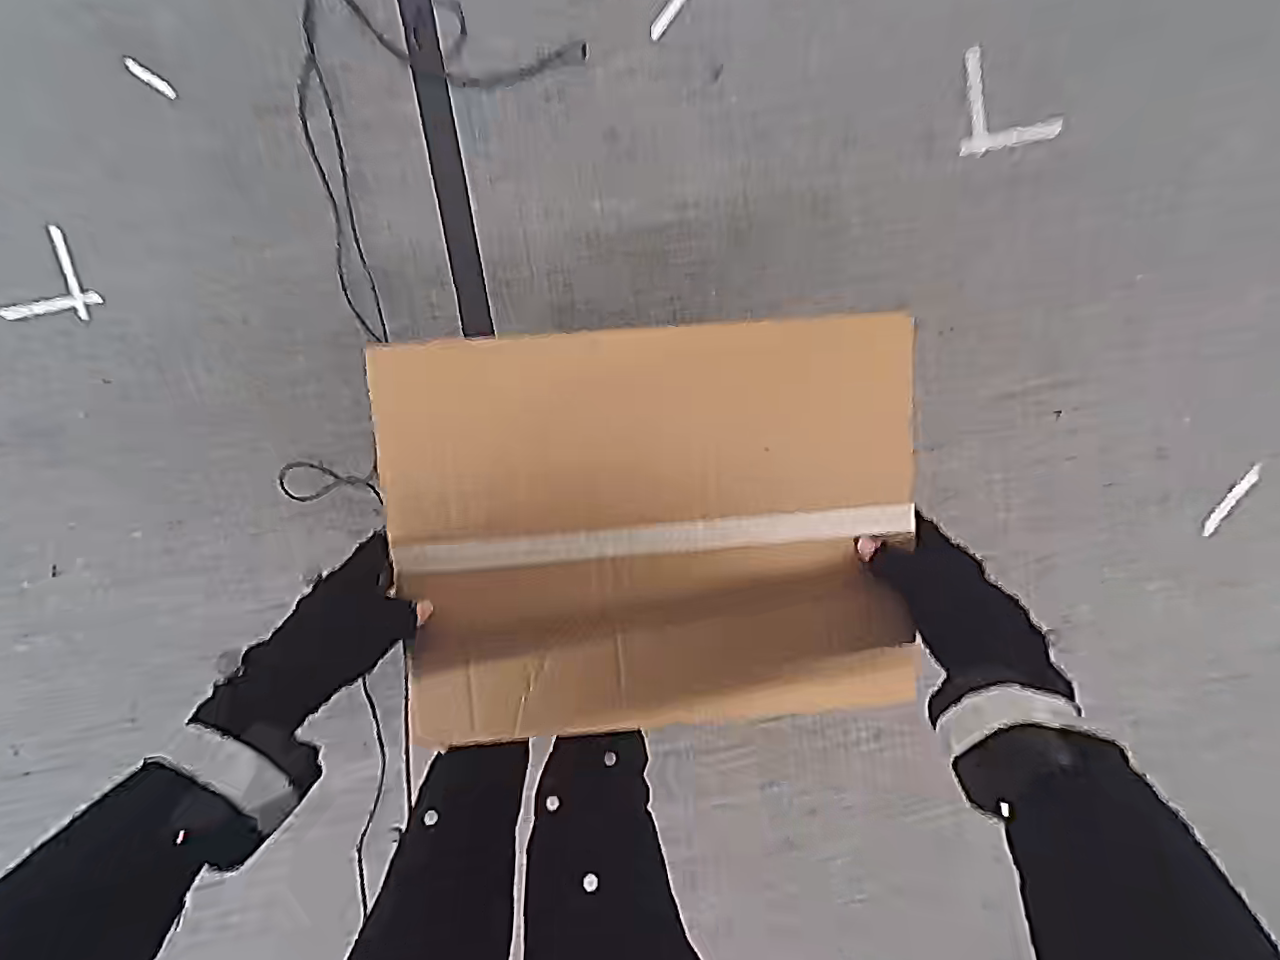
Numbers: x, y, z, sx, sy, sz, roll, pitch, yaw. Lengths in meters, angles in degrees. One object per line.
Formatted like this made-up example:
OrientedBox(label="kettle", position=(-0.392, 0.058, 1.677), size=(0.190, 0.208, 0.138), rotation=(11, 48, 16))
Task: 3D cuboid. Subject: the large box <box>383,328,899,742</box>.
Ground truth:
OrientedBox(label="large box", position=(0.007, 0.032, 0.582), size=(0.408, 0.320, 0.320), rotation=(-4, 96, -2))
